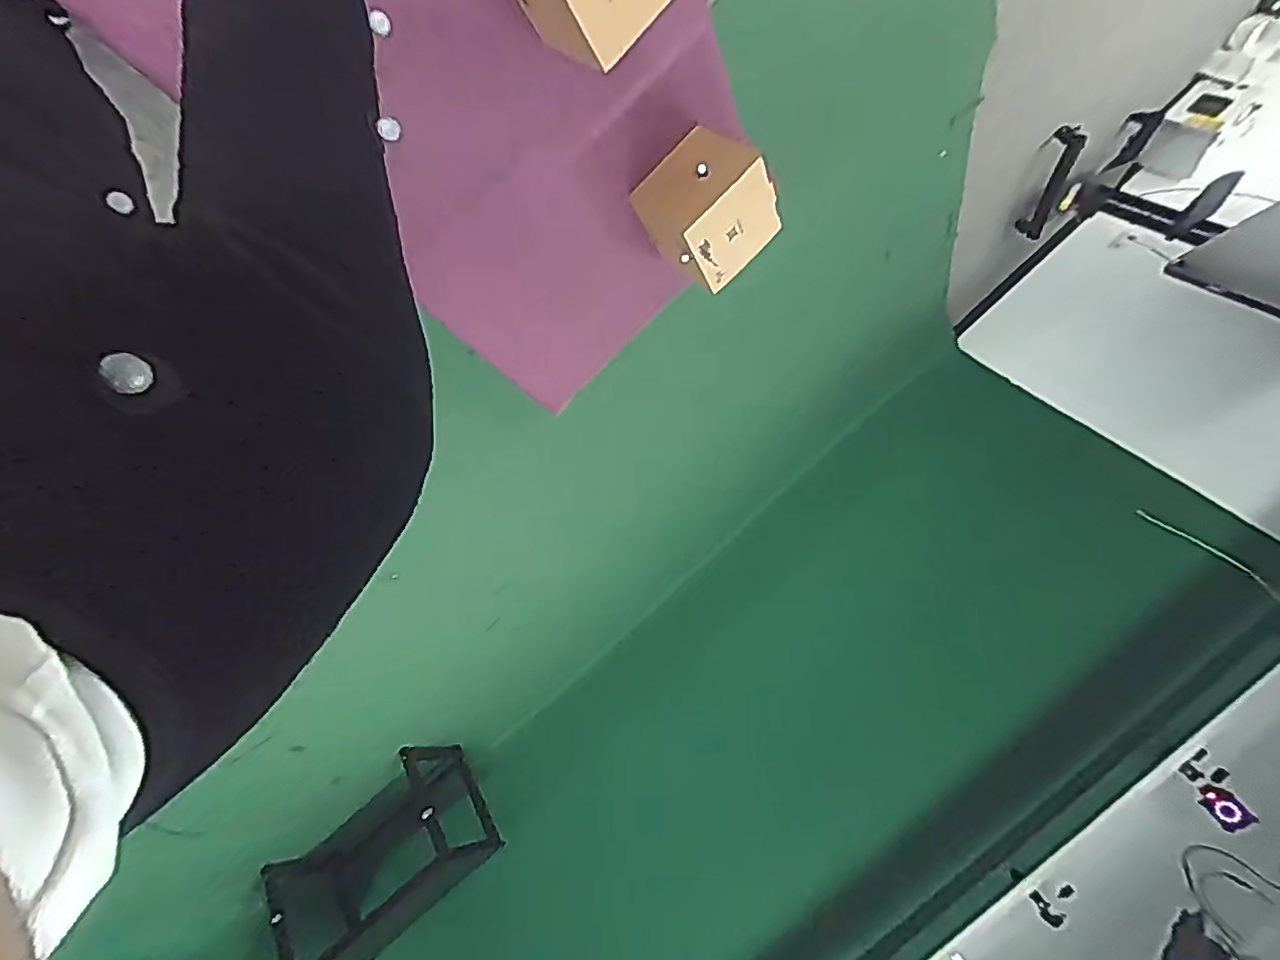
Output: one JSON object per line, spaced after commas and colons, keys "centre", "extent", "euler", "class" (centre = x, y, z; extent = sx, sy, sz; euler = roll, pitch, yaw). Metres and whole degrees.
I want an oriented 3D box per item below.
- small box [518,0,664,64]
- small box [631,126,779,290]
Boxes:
{"centre": [-0.063, -0.629, 0.607], "extent": [0.179, 0.176, 0.168], "euler": [-44, 148, 6], "class": "small box"}
{"centre": [0.116, -0.489, 0.972], "extent": [0.179, 0.176, 0.168], "euler": [-45, 148, 5], "class": "small box"}
